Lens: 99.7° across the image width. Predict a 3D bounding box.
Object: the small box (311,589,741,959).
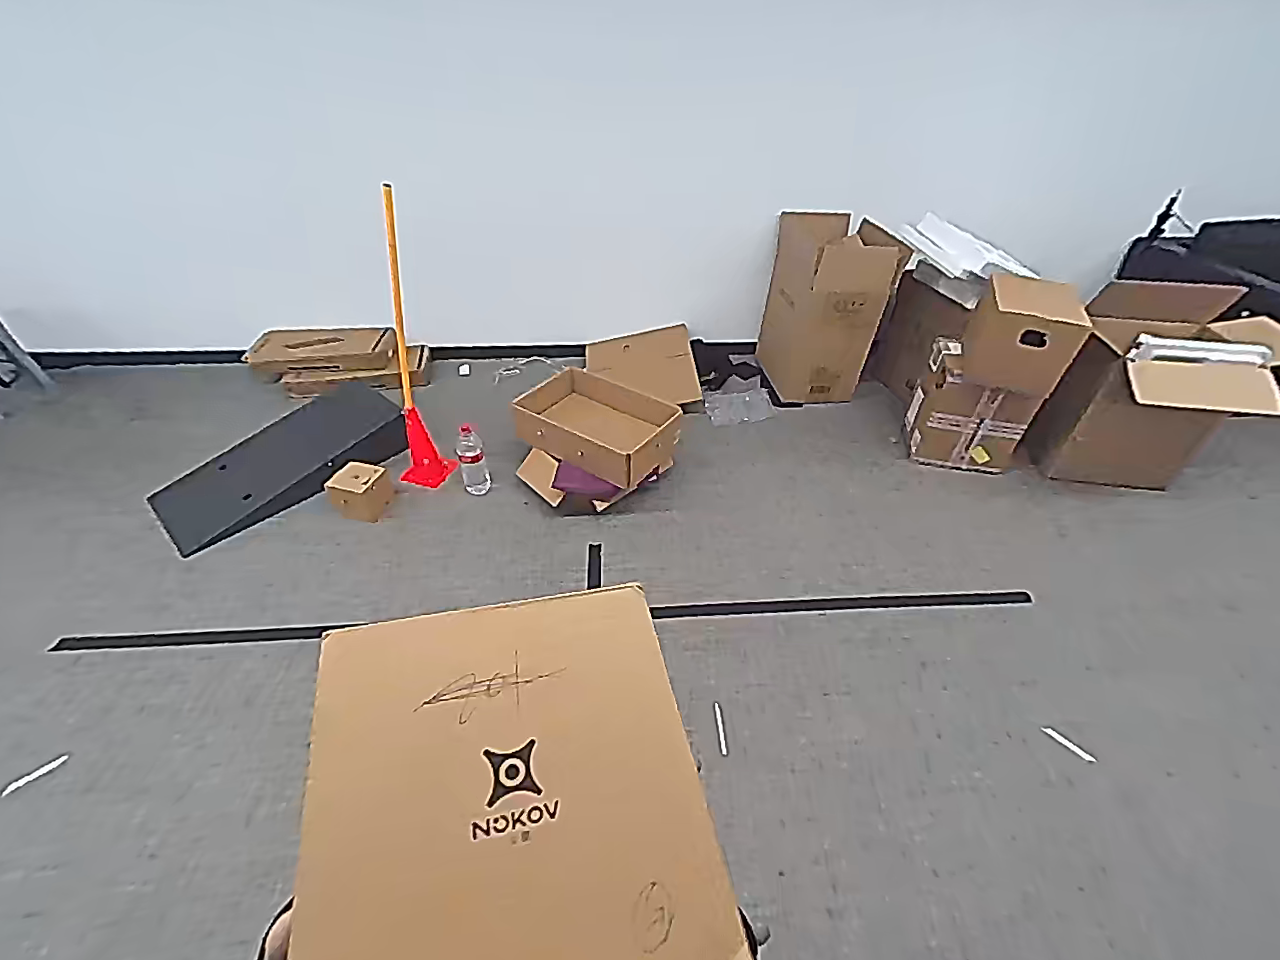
[{"bbox_3d":[-0.069,0.190,0.308,0.168,0.176,0.179,-5,49,-19],"label":"small box"}]
